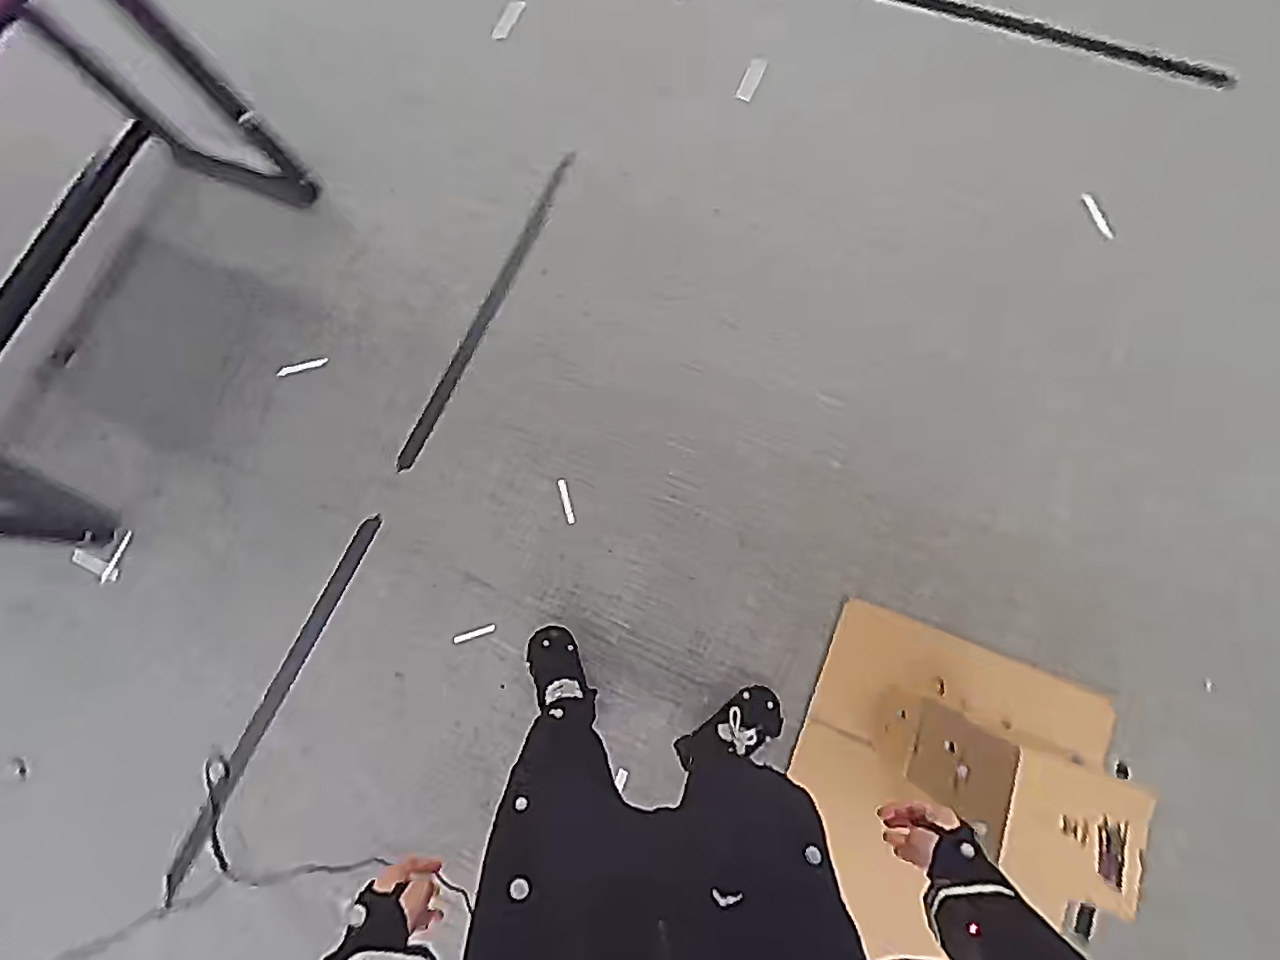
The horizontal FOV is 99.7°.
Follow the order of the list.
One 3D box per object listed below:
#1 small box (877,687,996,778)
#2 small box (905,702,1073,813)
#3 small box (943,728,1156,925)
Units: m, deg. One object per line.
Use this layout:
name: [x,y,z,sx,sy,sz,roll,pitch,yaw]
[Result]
small box: [0.623,0.548,1.127,0.179,0.176,0.168,20,81,9]
small box: [0.612,0.517,0.966,0.179,0.176,0.168,19,81,8]
small box: [0.592,0.494,0.804,0.179,0.176,0.168,18,81,9]
